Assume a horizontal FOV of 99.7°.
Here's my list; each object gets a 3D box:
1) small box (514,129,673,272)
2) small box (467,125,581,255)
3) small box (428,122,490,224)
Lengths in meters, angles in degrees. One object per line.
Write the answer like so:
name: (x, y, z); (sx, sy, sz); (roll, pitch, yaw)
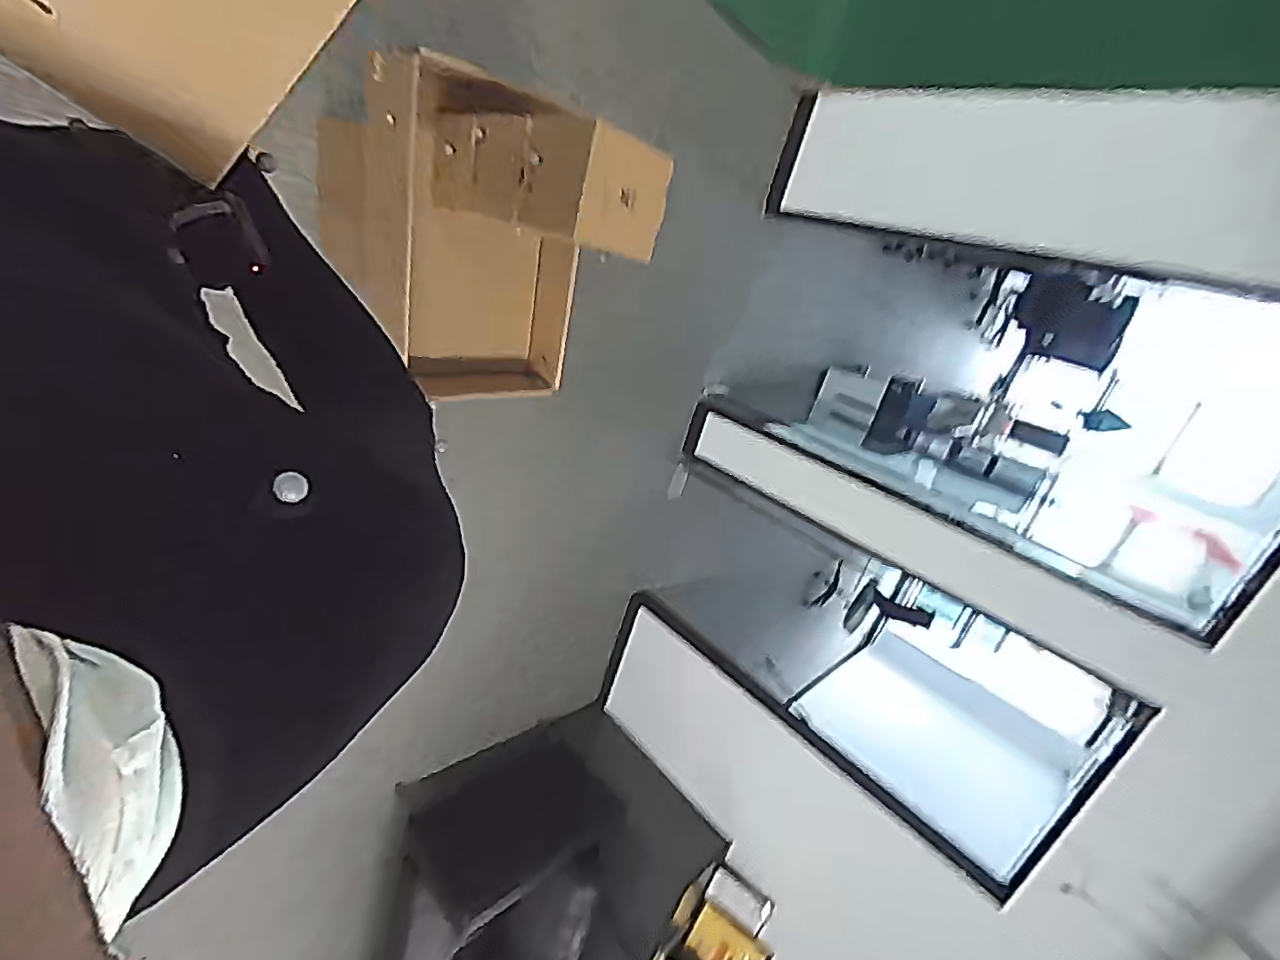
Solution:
small box: (-0.079, -0.465, 0.903); (0.179, 0.176, 0.168); (-5, 119, -48)
small box: (-0.195, -0.531, 0.997); (0.179, 0.176, 0.168); (-8, 121, -48)
small box: (-0.309, -0.602, 1.092); (0.179, 0.176, 0.168); (-13, 124, -45)
